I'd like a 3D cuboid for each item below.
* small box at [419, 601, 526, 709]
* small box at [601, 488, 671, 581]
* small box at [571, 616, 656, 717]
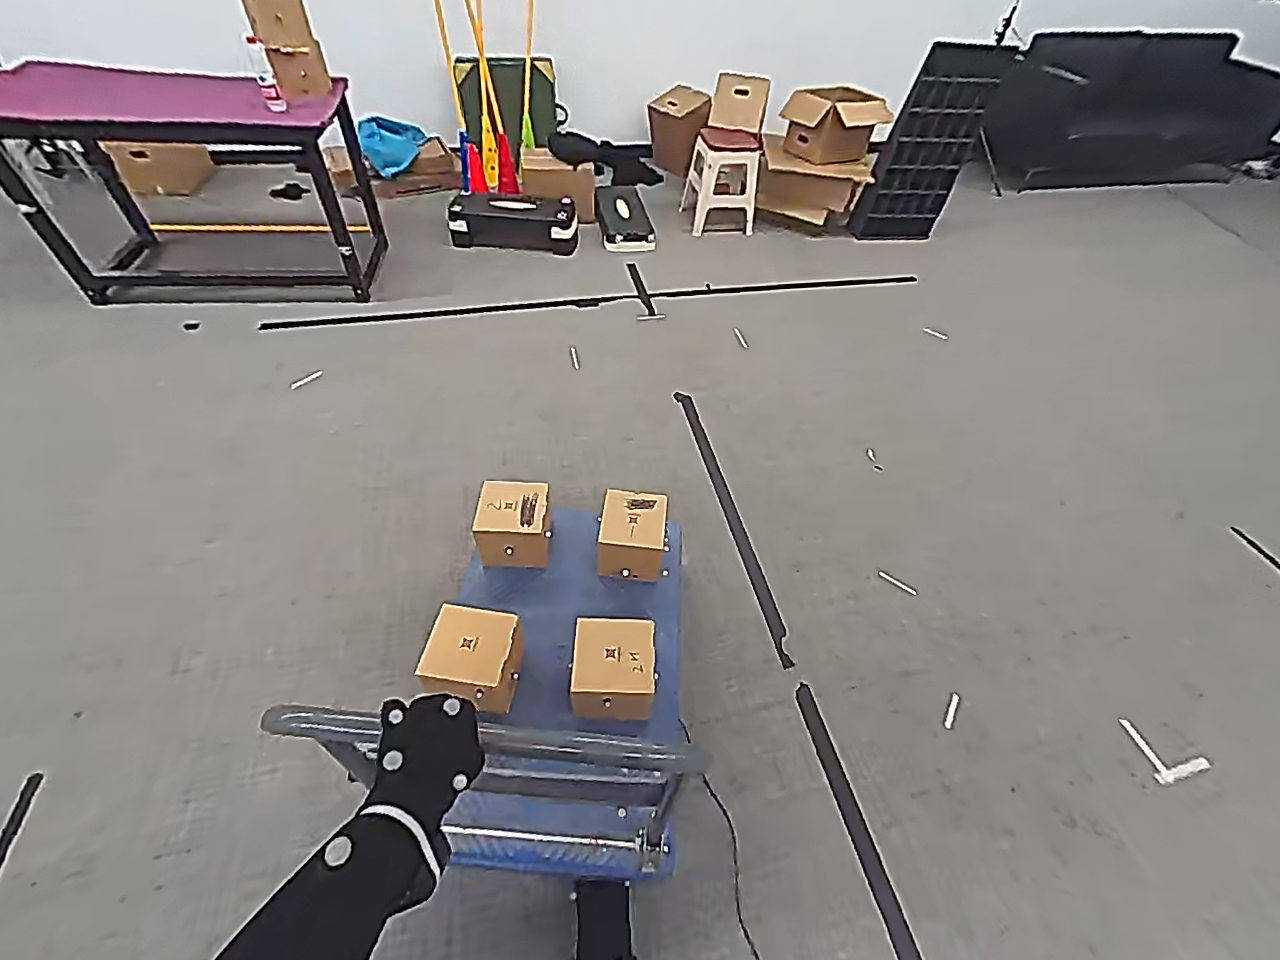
[{"bbox_3d":[-0.365,0.396,1.213,0.179,0.176,0.168,9,48,1],"label":"small box"},{"bbox_3d":[-0.014,0.148,1.458,0.168,0.176,0.179,7,50,1],"label":"small box"},{"bbox_3d":[-0.057,0.422,1.217,0.179,0.176,0.168,3,49,-2],"label":"small box"}]
